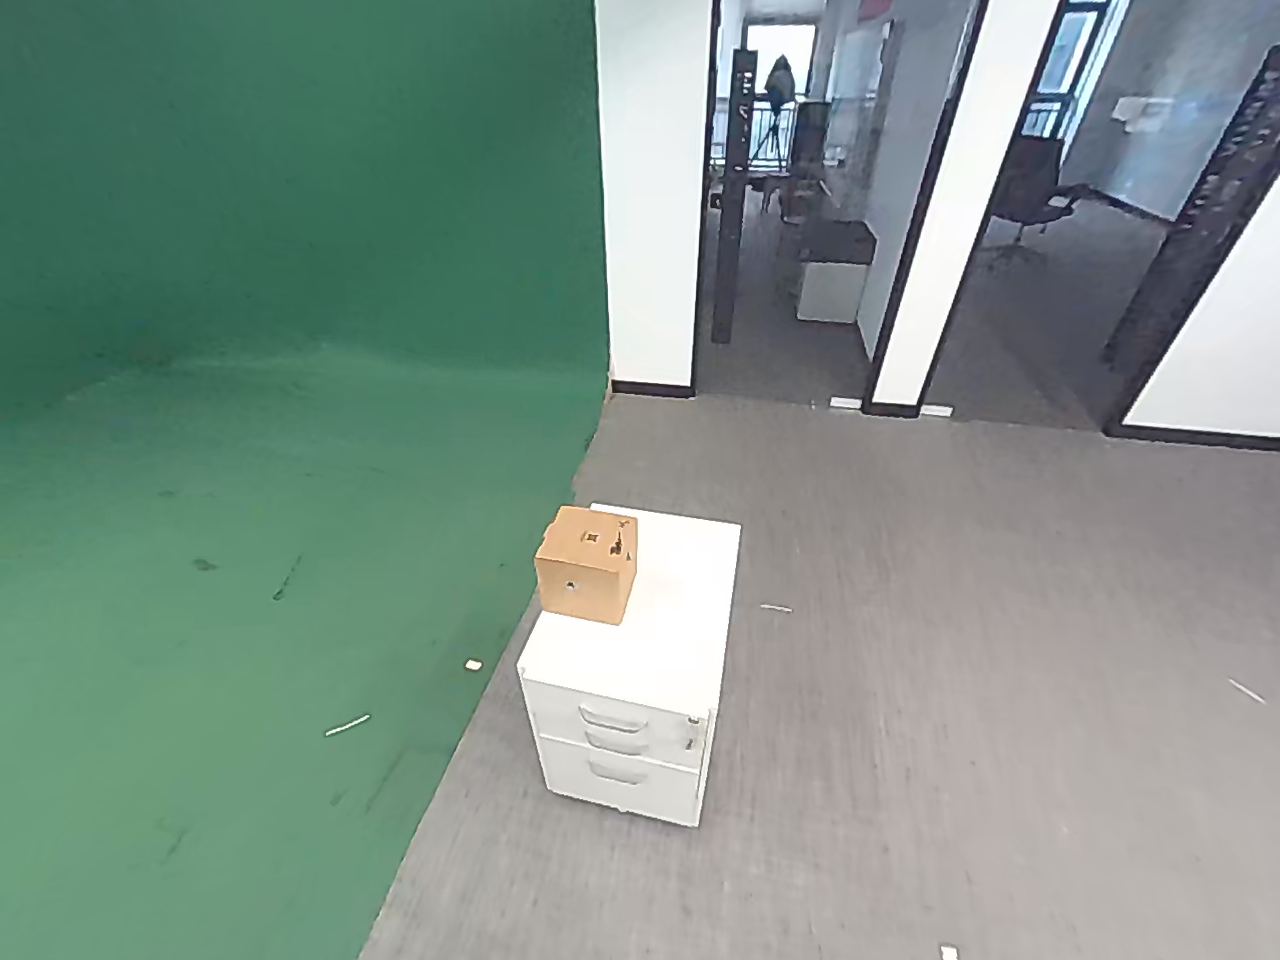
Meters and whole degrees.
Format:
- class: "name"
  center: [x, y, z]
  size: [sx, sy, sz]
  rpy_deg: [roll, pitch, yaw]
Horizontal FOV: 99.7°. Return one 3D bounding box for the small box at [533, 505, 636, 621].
- class: "small box"
  center: [-0.111, 0.178, 1.154]
  size: [0.179, 0.176, 0.168]
  rpy_deg: [8, 39, 10]
